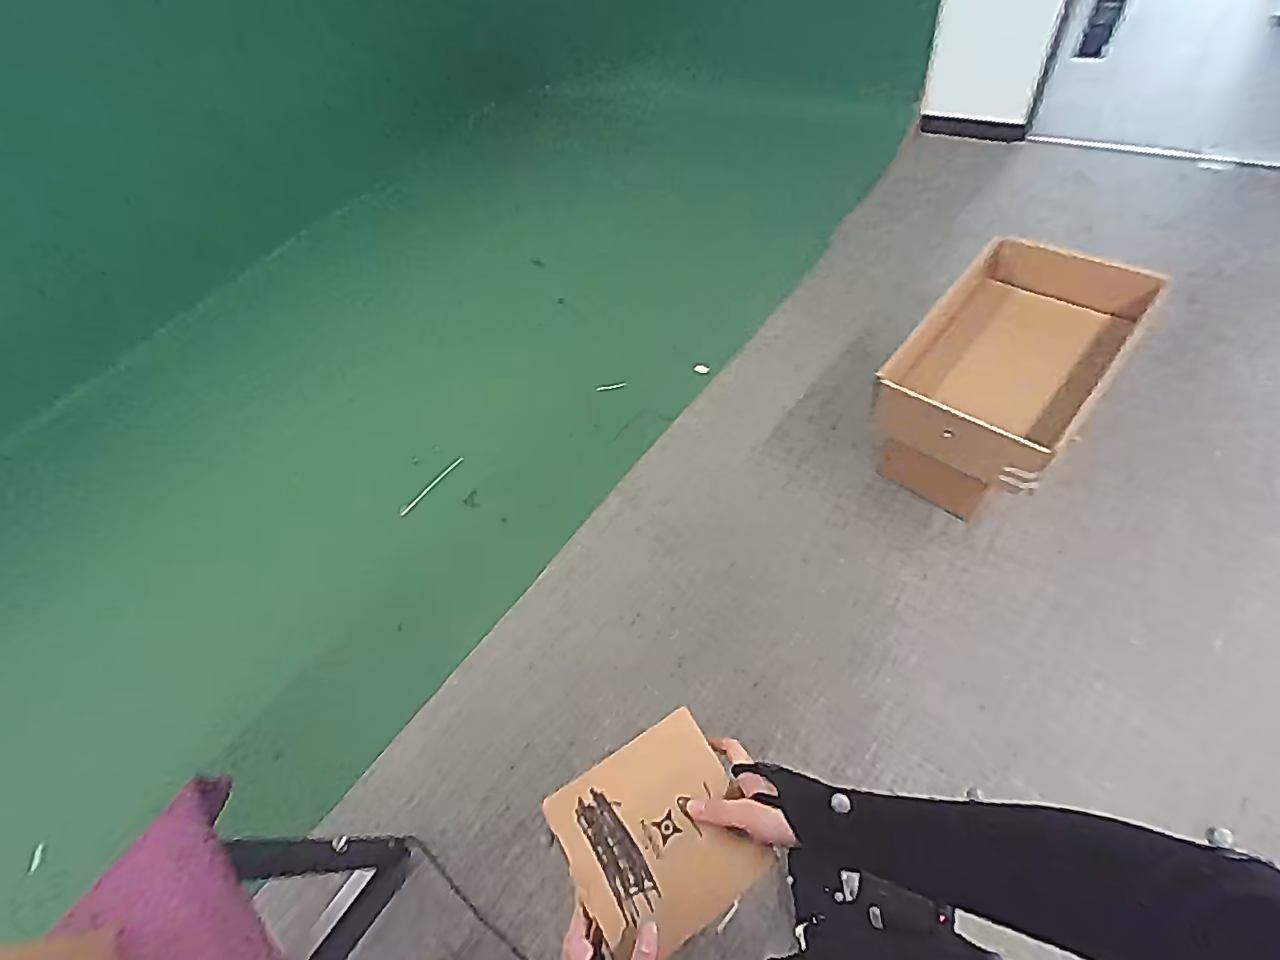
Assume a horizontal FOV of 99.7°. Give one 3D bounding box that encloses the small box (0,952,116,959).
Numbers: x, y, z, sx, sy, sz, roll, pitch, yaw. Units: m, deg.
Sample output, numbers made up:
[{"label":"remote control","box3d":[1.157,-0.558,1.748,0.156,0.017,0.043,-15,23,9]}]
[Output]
[{"label":"small box","box3d":[-0.811,0.751,0.686,0.168,0.176,0.179,-41,58,-13]}]
